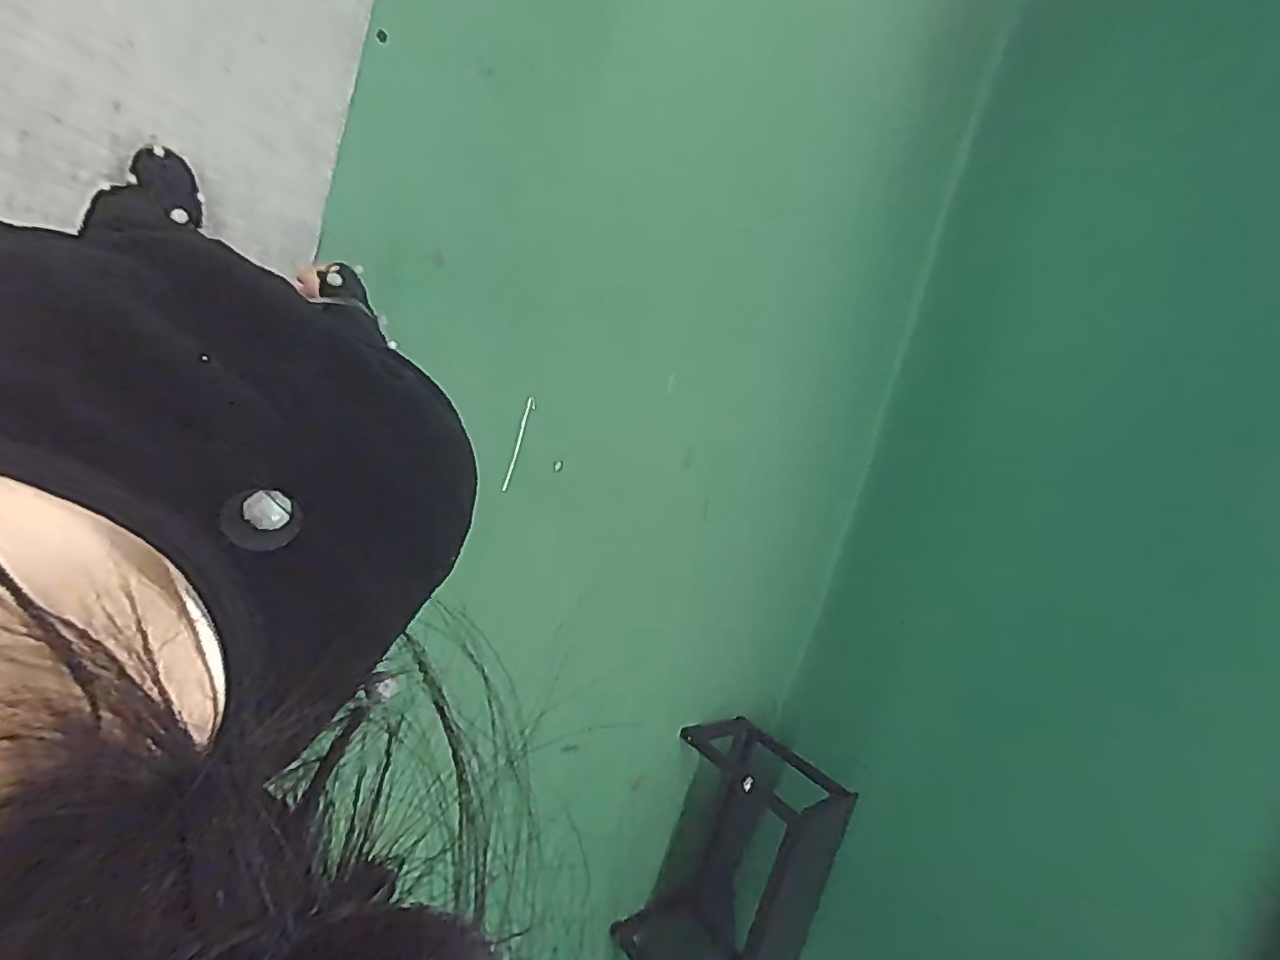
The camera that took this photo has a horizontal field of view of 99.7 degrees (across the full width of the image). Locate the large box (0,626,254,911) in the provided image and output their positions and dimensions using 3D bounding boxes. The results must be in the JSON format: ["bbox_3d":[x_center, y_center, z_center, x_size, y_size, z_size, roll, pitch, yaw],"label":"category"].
[{"bbox_3d":[-1.086,0.555,1.127,0.408,0.320,0.320,-8,111,-43],"label":"large box"}]
